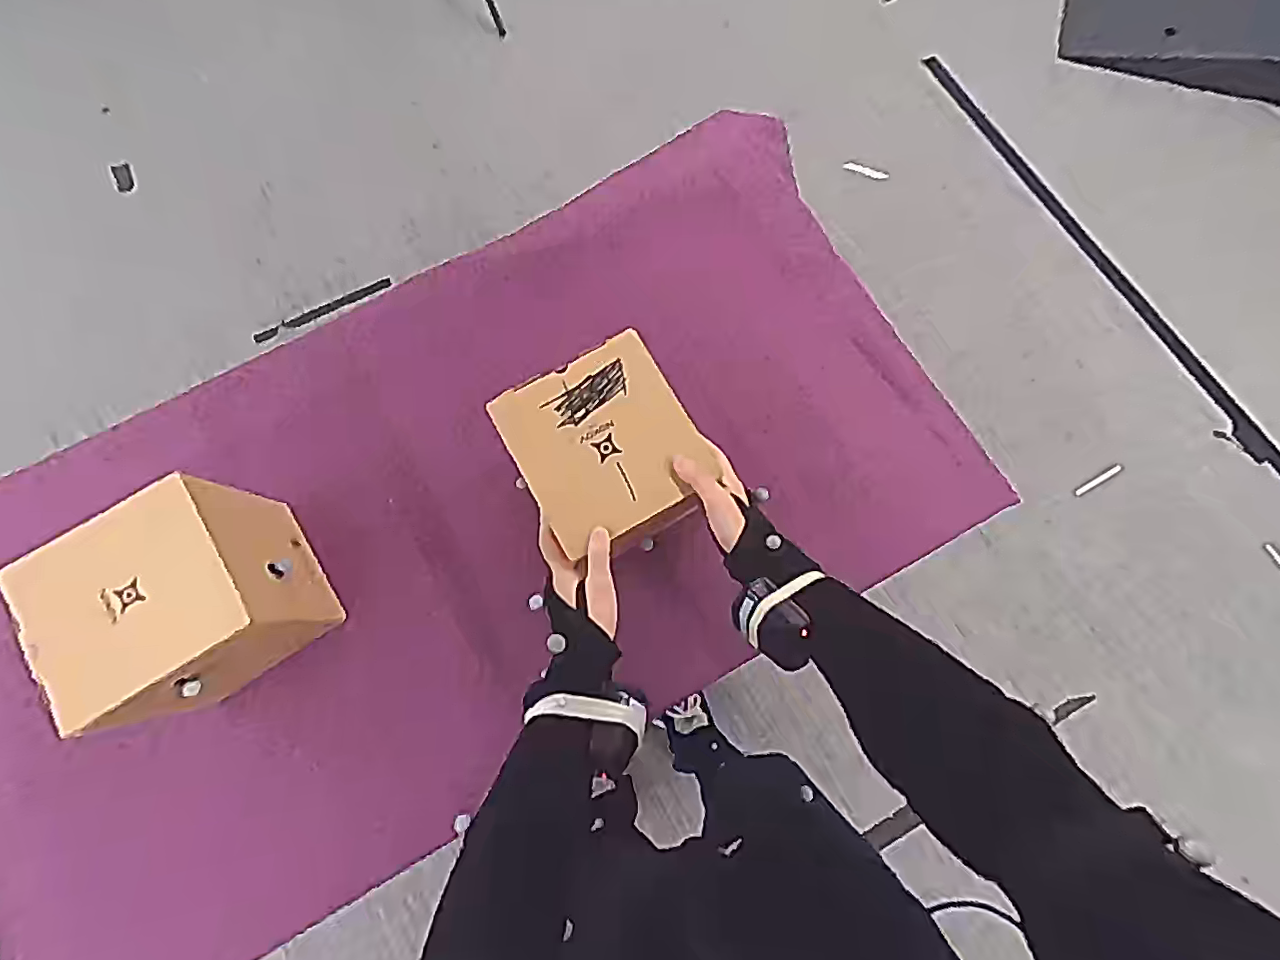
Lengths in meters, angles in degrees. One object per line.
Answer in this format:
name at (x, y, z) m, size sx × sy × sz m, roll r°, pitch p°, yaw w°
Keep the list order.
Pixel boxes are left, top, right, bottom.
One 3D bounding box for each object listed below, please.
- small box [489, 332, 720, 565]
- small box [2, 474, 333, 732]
small box at (-0.037, -0.021, 0.591) m, size 0.168 × 0.176 × 0.179 m, roll -29°, pitch 80°, yaw -6°
small box at (-0.456, 0.119, 0.559) m, size 0.179 × 0.176 × 0.168 m, roll -33°, pitch 80°, yaw -7°
